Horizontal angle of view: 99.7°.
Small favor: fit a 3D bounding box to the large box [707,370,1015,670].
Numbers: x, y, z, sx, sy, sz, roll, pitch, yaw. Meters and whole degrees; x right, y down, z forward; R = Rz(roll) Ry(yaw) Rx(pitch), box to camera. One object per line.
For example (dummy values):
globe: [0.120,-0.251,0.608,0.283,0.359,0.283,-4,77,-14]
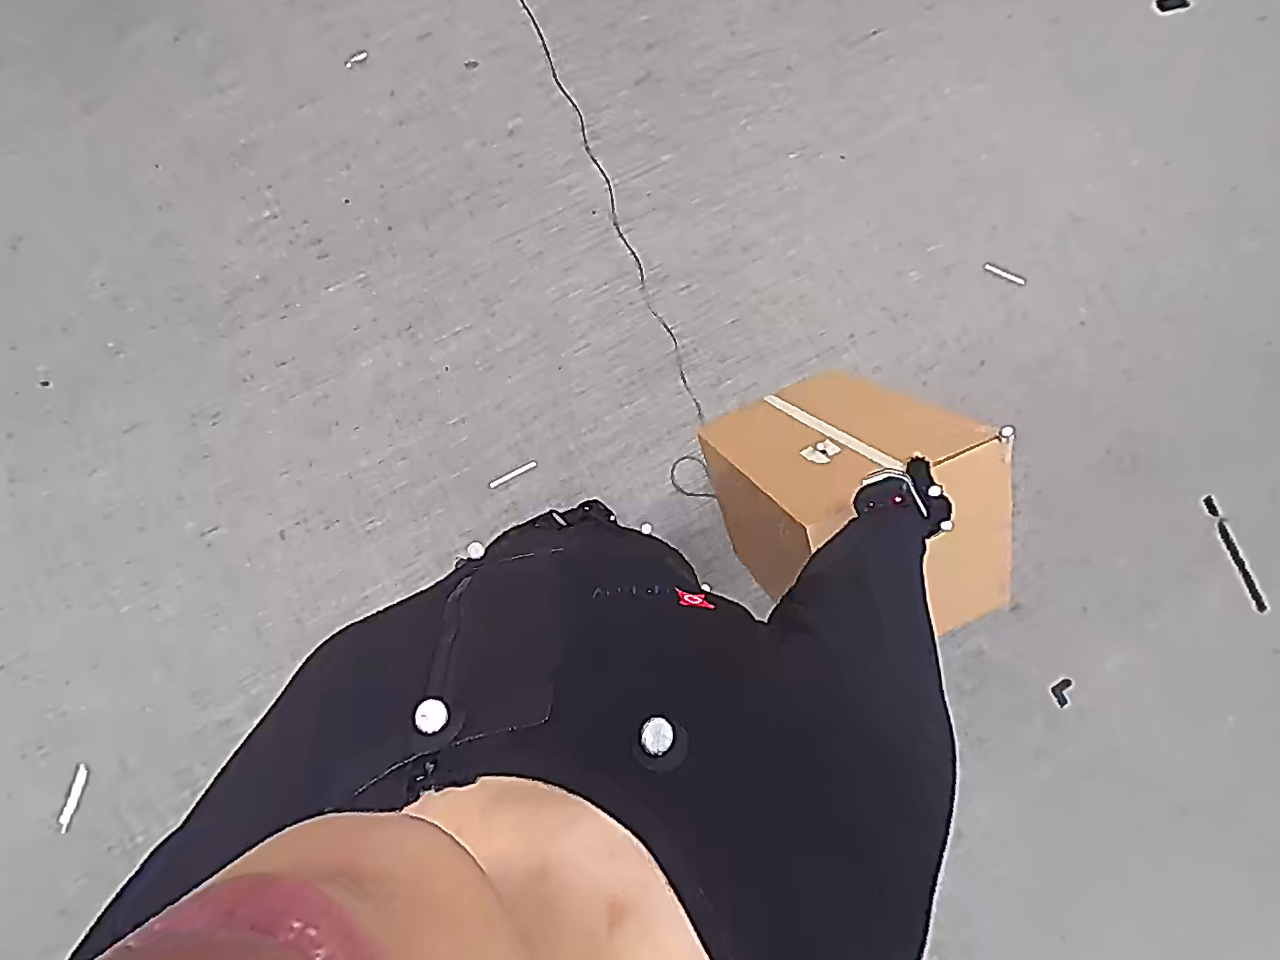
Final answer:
large box: [0.363,0.044,0.965,0.320,0.408,0.320,-24,120,-5]
